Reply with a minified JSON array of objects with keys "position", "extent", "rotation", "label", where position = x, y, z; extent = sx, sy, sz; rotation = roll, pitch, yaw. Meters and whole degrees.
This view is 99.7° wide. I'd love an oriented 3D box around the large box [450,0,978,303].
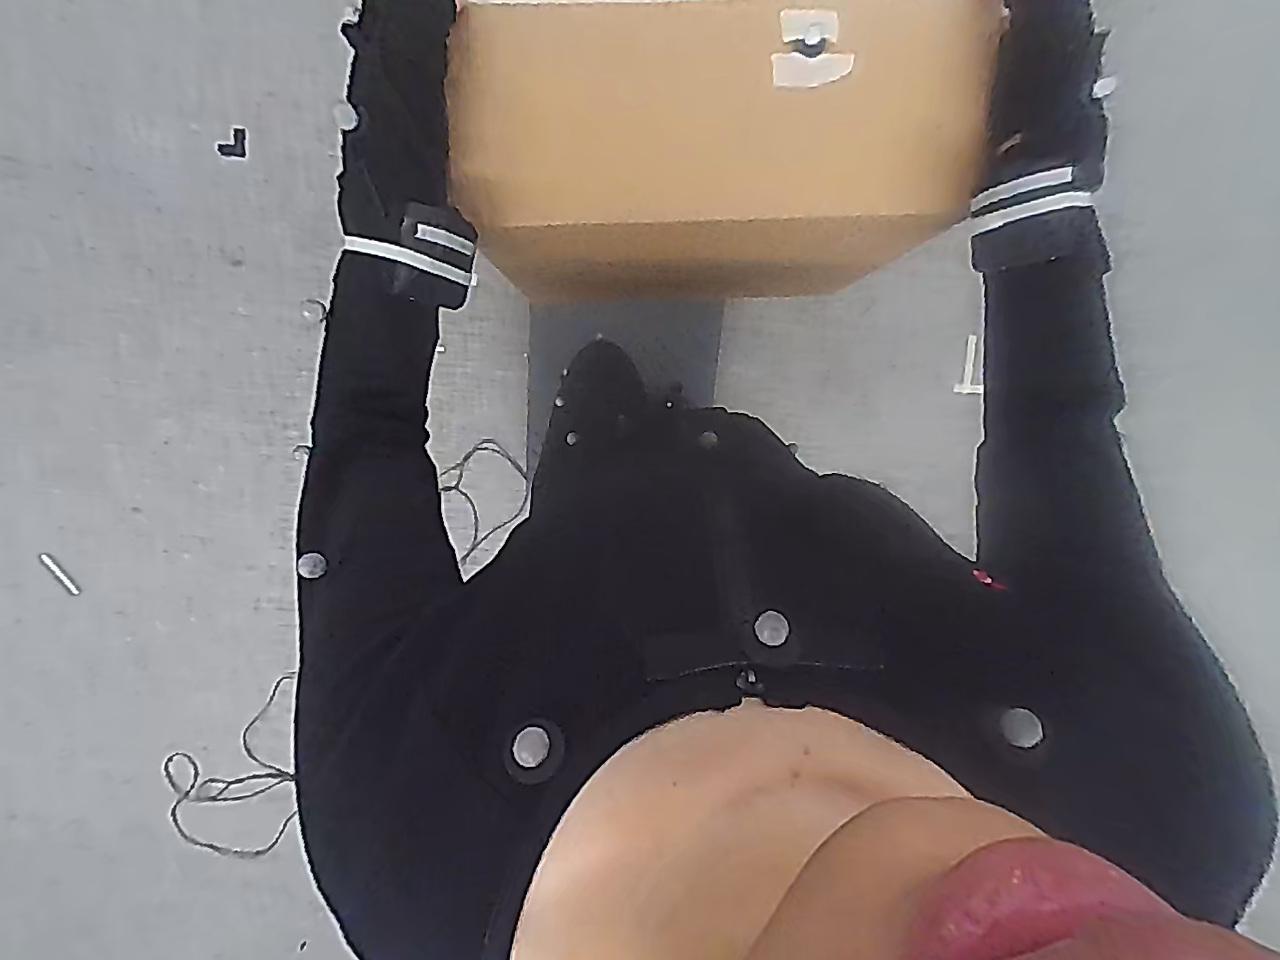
[{"position":[0.051,-0.377,0.551],"extent":[0.408,0.320,0.320],"rotation":[-2,98,-1],"label":"large box"}]
